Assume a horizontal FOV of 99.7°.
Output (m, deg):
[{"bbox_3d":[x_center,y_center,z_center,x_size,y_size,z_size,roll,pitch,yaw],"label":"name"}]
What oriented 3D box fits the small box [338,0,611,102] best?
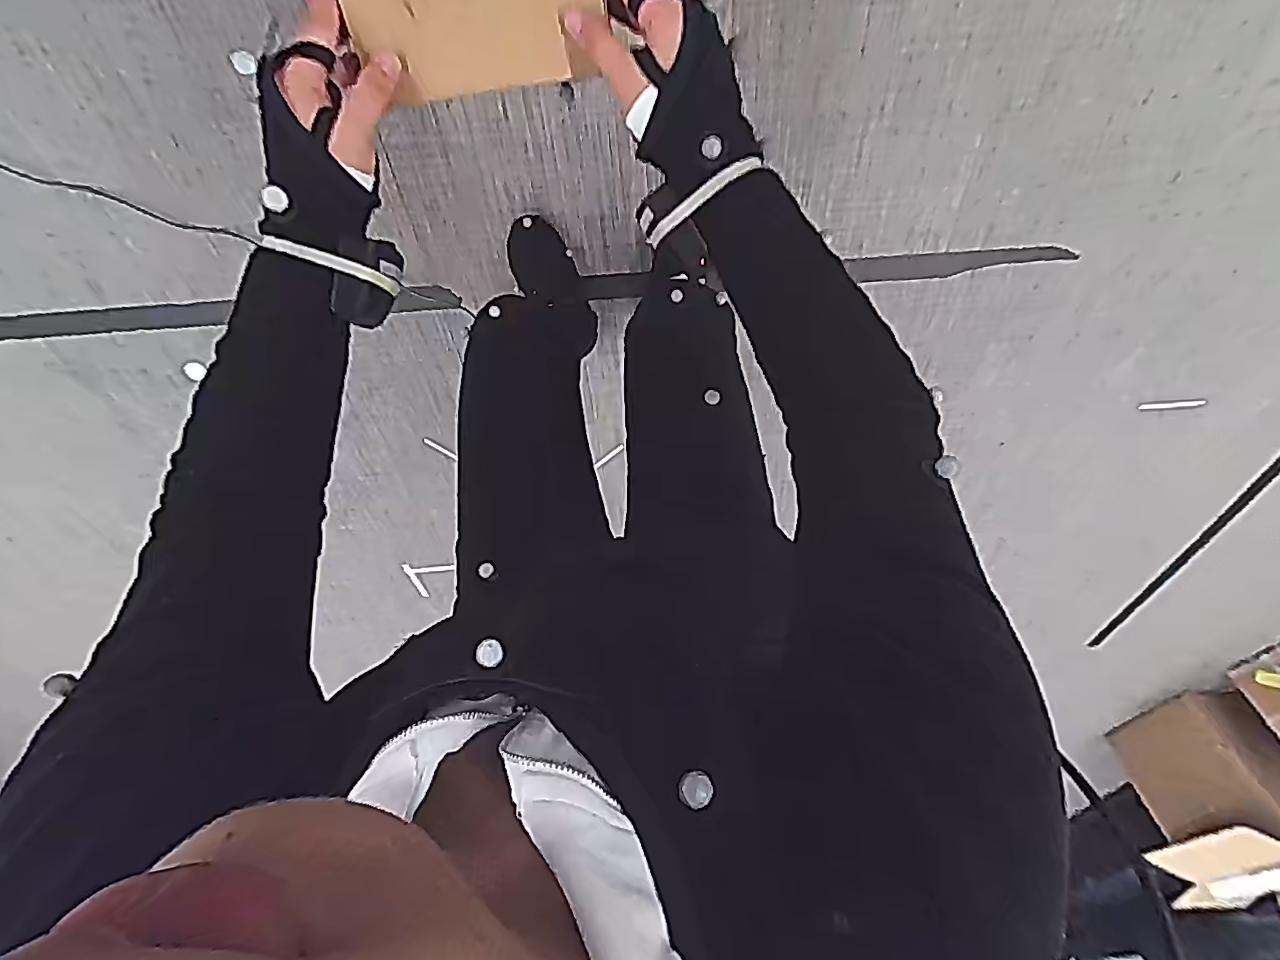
[{"bbox_3d":[-0.118,-0.395,0.396,0.179,0.176,0.168,-7,128,5],"label":"small box"}]
